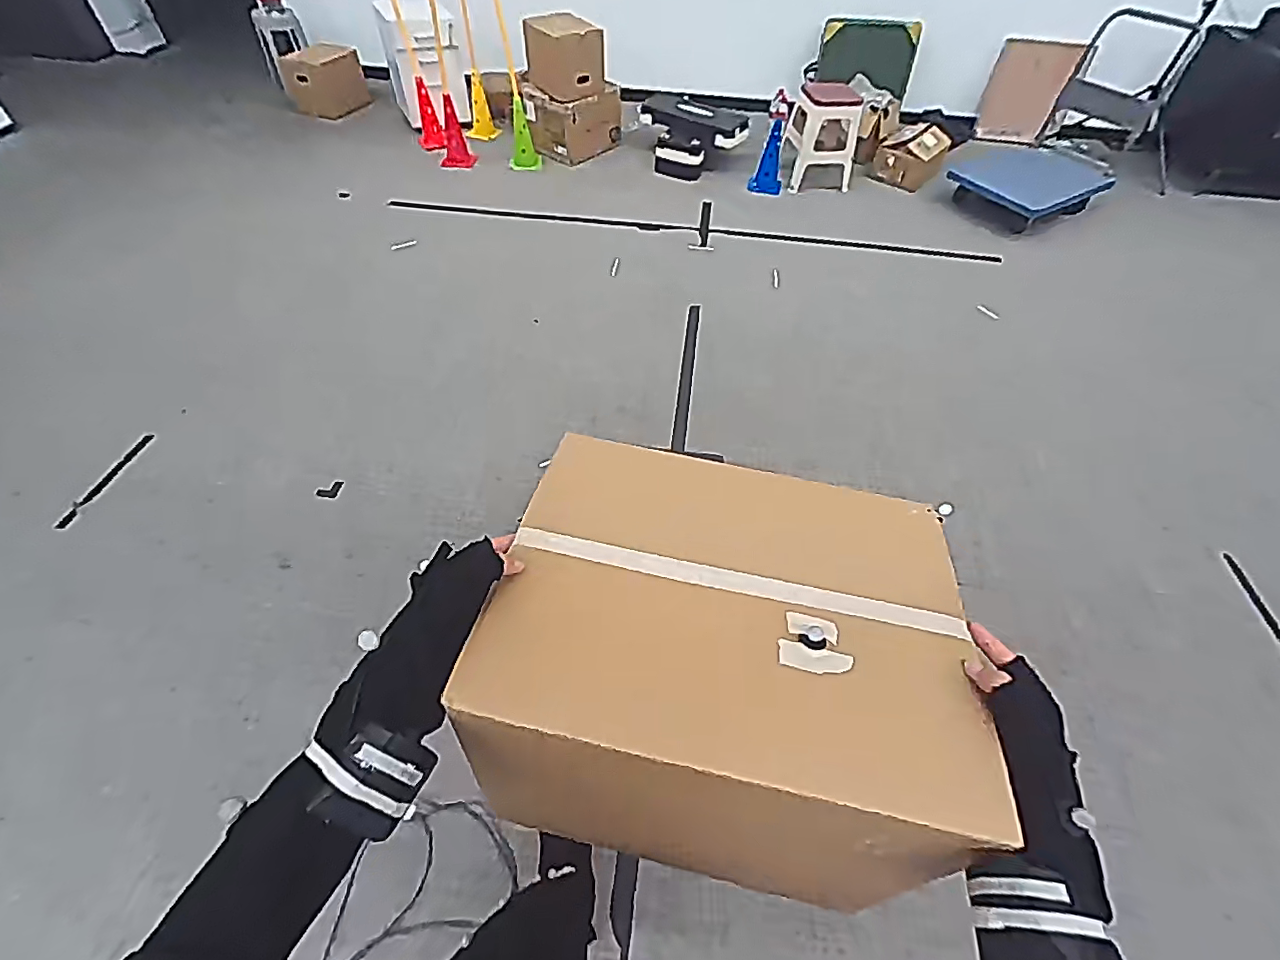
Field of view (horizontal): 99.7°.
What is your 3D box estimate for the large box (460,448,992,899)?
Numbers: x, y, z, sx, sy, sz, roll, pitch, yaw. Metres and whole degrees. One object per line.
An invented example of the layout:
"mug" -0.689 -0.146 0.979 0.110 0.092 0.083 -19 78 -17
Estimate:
"large box" 0.068 0.207 0.601 0.408 0.320 0.320 12 45 5
